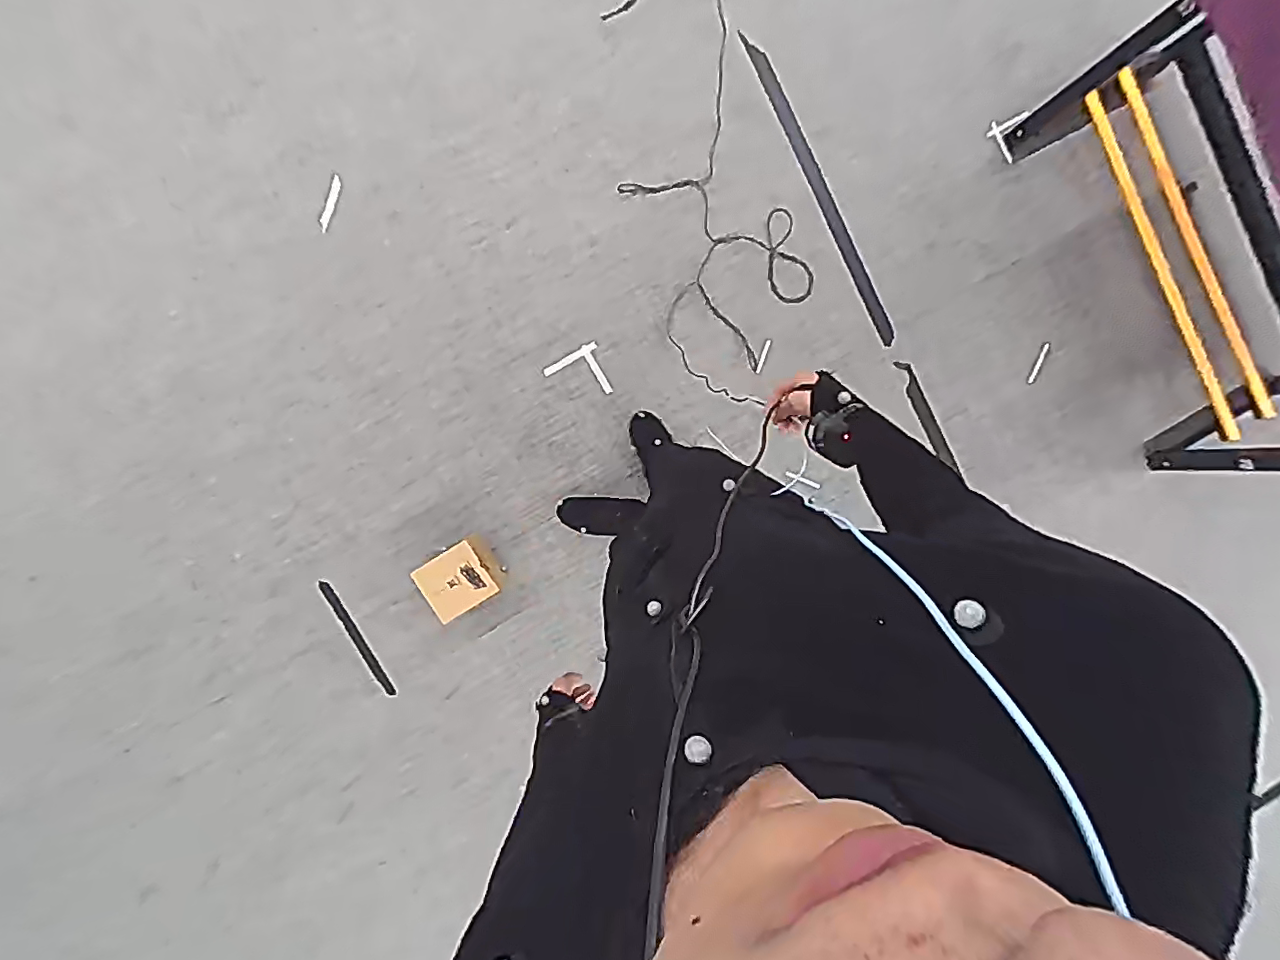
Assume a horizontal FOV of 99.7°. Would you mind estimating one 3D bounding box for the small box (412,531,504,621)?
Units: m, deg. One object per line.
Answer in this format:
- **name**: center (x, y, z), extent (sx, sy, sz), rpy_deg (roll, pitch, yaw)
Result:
- **small box**: center (-0.496, 0.259, 1.510), extent (0.179, 0.176, 0.168), rpy_deg (-32, 95, -3)
